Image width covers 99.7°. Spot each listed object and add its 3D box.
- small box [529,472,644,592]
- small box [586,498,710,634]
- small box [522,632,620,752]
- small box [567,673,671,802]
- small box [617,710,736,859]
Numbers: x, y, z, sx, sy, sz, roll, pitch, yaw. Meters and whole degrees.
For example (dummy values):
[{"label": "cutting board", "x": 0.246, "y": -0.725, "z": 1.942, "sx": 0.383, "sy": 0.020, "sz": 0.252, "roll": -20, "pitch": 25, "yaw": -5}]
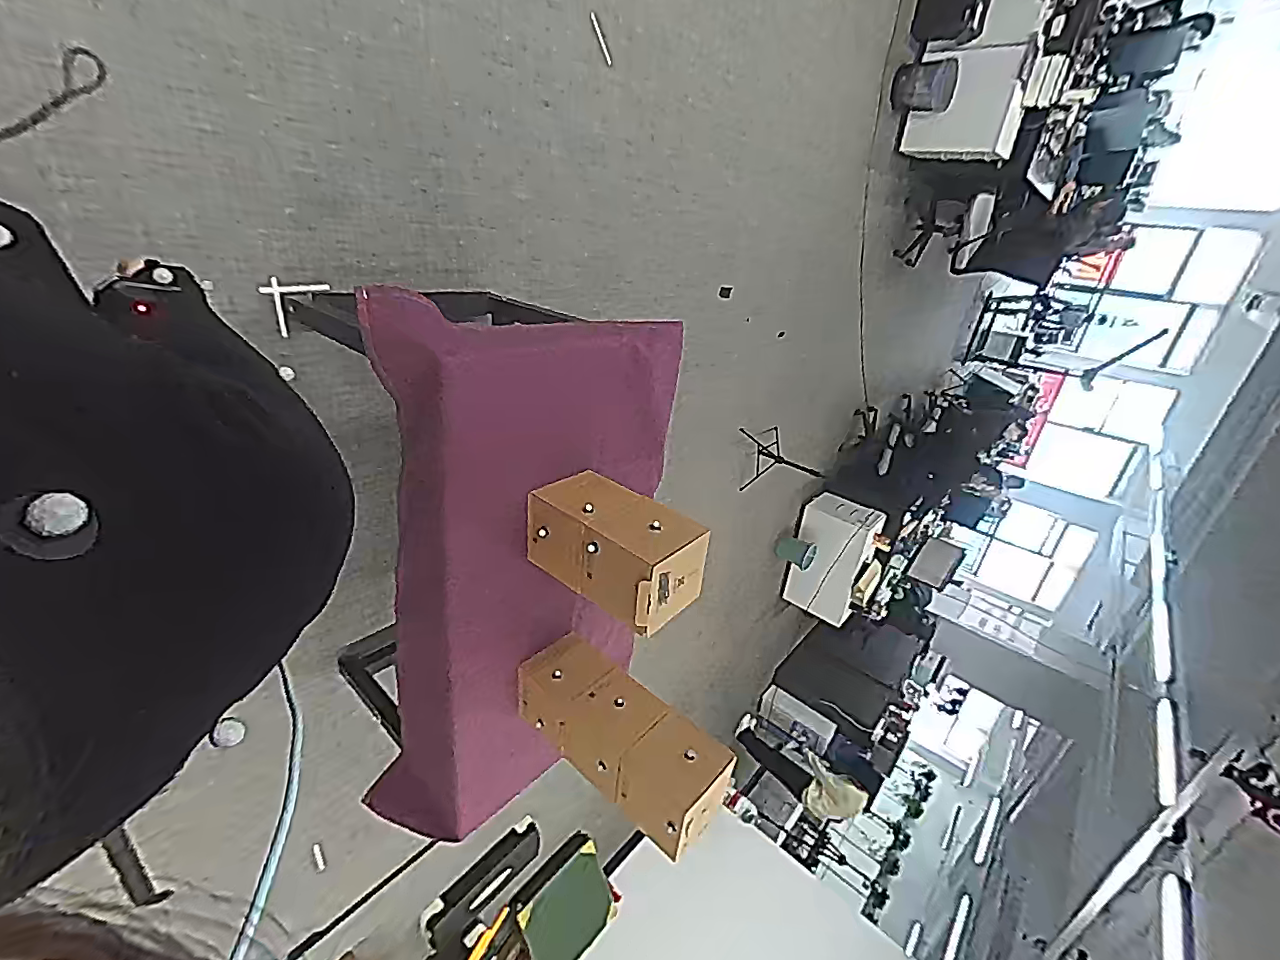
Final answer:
[{"label": "small box", "x": -0.113, "y": 0.100, "z": 1.142, "sx": 0.179, "sy": 0.176, "sz": 0.168, "roll": -23, "pitch": 128, "yaw": -44}, {"label": "small box", "x": 0.010, "y": 0.157, "z": 1.050, "sx": 0.179, "sy": 0.176, "sz": 0.168, "roll": -25, "pitch": 130, "yaw": -44}, {"label": "small box", "x": -0.172, "y": 0.509, "z": 1.319, "sx": 0.179, "sy": 0.176, "sz": 0.168, "roll": -23, "pitch": 129, "yaw": -45}, {"label": "small box", "x": -0.051, "y": 0.567, "z": 1.225, "sx": 0.168, "sy": 0.176, "sz": 0.179, "roll": -23, "pitch": 129, "yaw": -44}, {"label": "small box", "x": 0.075, "y": 0.628, "z": 1.140, "sx": 0.179, "sy": 0.176, "sz": 0.168, "roll": -23, "pitch": 129, "yaw": -45}]
